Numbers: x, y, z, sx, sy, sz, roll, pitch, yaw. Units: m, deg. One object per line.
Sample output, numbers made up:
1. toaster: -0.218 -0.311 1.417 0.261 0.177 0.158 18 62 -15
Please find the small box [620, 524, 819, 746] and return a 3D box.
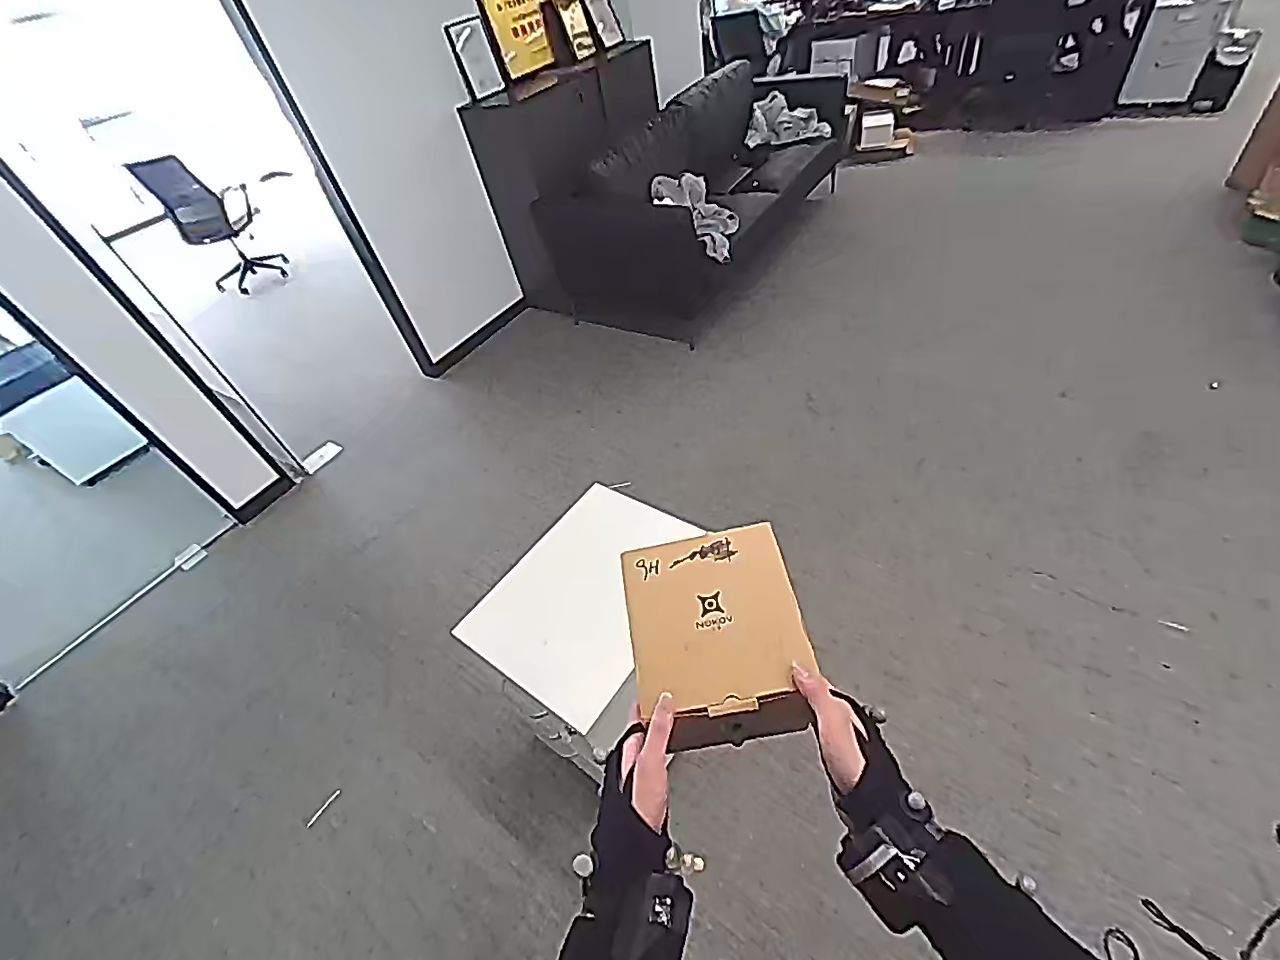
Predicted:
1. small box: 0.085 0.179 0.597 0.168 0.176 0.179 -14 52 2
